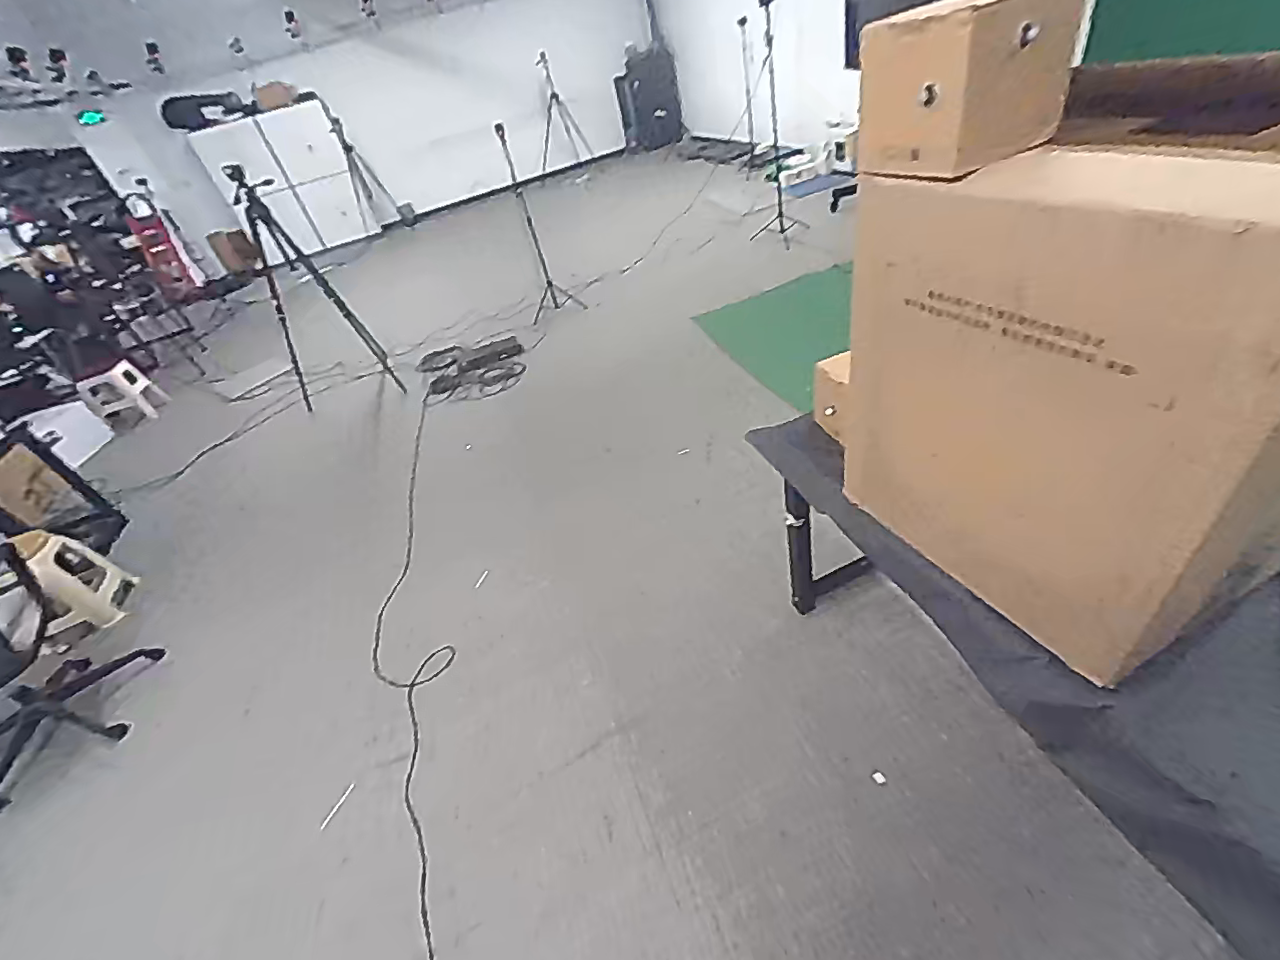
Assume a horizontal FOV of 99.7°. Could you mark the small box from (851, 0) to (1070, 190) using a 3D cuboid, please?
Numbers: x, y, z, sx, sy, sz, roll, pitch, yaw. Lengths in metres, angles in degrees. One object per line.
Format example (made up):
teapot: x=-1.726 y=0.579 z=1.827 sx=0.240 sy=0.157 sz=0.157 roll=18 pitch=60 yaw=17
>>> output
small box: x=0.398 y=-0.490 z=0.695 sx=0.179 sy=0.176 sz=0.168 roll=-24 pitch=38 yaw=-11
